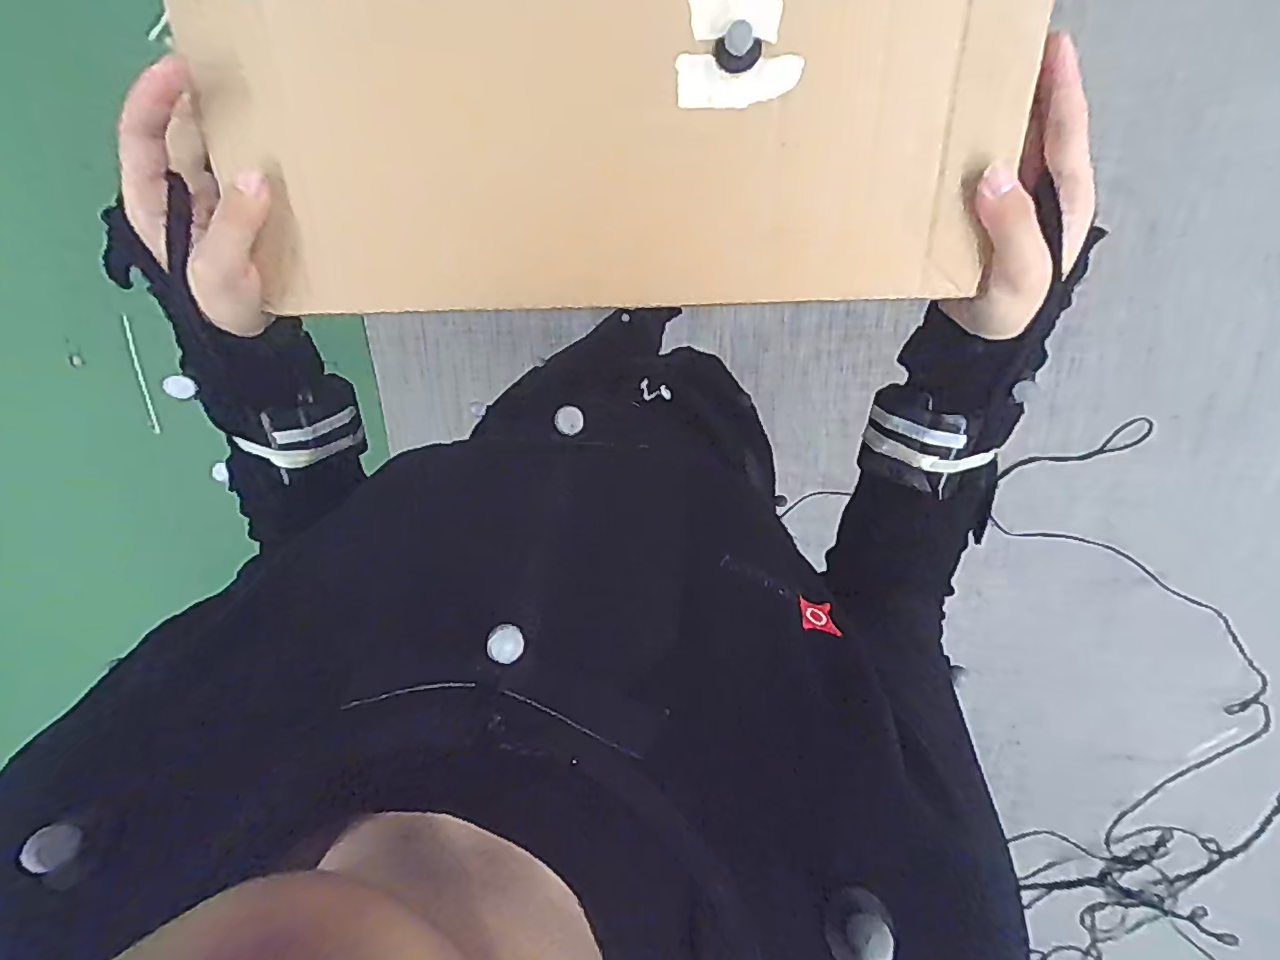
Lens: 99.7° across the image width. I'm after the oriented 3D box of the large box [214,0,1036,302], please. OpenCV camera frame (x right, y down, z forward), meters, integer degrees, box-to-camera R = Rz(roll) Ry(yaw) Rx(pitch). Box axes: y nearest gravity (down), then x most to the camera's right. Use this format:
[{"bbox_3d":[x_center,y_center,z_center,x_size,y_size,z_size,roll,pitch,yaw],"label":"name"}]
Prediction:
[{"bbox_3d":[-0.008,-0.305,0.392,0.408,0.320,0.320,0,111,2],"label":"large box"}]
